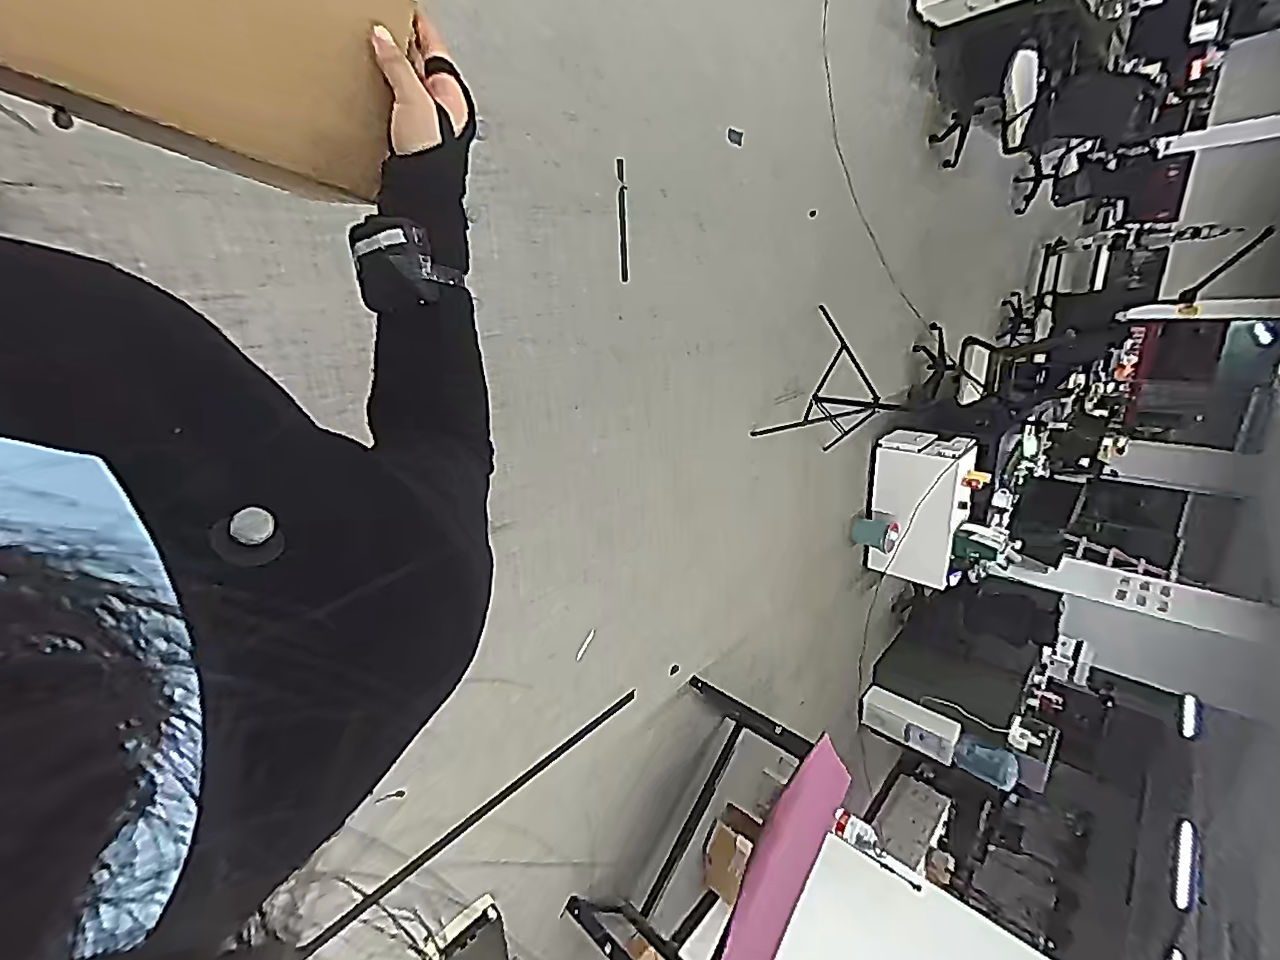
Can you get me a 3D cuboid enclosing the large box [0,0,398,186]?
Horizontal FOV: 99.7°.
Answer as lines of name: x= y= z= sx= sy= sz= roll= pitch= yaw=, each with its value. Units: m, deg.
large box: x=-0.421 y=-0.449 z=0.393 sx=0.408 sy=0.320 sz=0.320 roll=4 pitch=109 yaw=-42
